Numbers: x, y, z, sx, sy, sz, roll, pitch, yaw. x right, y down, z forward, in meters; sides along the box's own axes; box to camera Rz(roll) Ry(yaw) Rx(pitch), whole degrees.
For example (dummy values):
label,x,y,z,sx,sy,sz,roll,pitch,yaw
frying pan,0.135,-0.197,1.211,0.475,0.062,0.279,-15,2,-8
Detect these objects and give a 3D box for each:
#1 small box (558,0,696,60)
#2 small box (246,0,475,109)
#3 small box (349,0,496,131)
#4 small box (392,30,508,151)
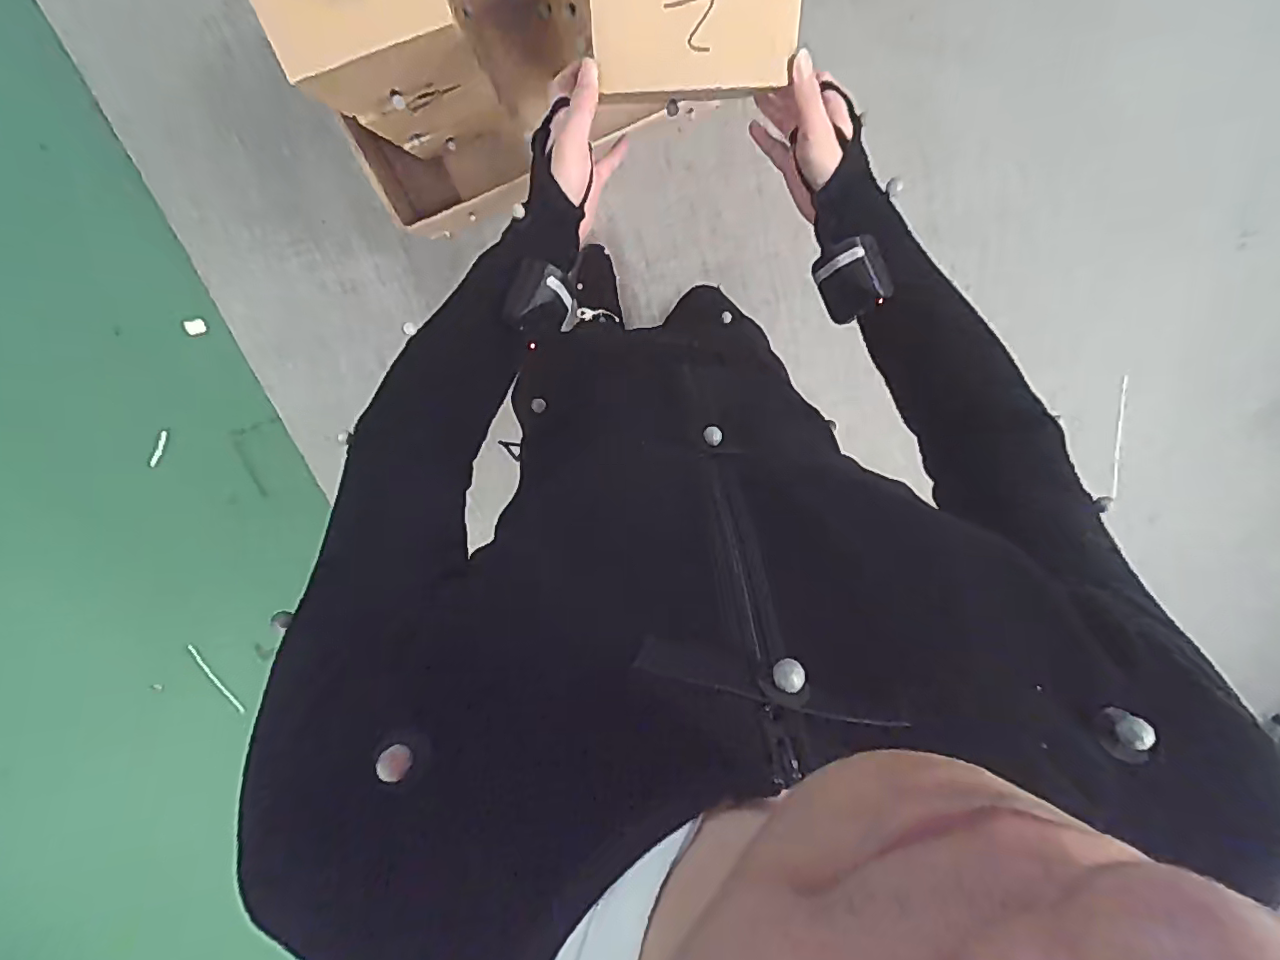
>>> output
label,x,y,z,sx,sy,sz,roll,pitch,yaw
small box,-0.026,-0.655,0.661,0.168,0.176,0.179,-26,115,3
small box,-0.277,-0.495,0.519,0.168,0.176,0.179,-18,115,1
small box,-0.293,-0.559,0.669,0.168,0.176,0.179,-19,114,1
small box,-0.315,-0.623,0.818,0.168,0.176,0.179,-23,114,3
